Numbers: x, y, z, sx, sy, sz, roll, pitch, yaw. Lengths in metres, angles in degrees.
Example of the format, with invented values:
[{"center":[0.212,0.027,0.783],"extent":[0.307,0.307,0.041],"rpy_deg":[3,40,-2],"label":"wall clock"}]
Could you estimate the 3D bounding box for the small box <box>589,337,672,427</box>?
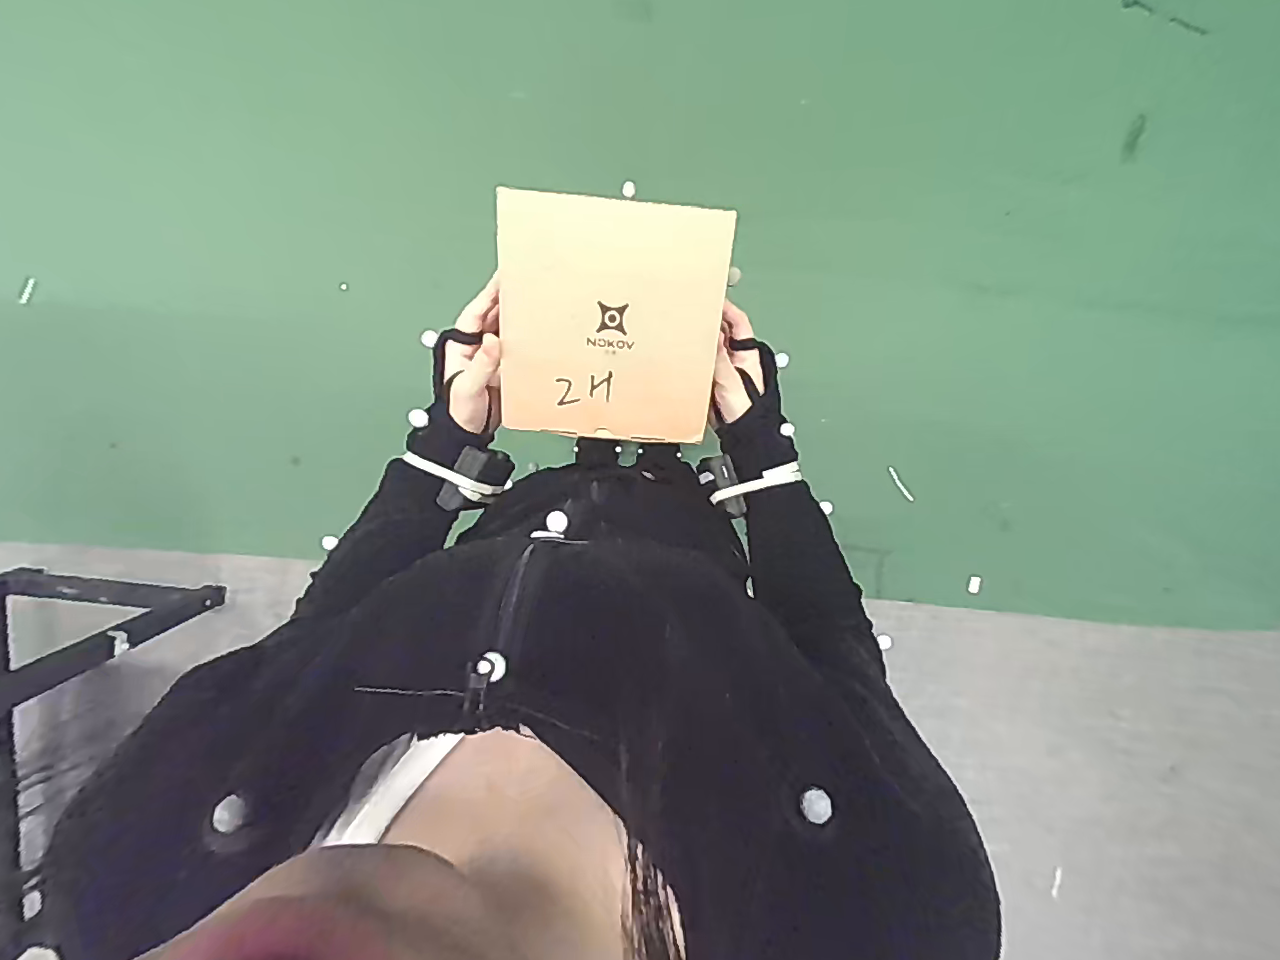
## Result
[{"center":[-0.024,-0.215,1.214],"extent":[0.168,0.176,0.179],"rpy_deg":[4,98,-3],"label":"small box"}]
